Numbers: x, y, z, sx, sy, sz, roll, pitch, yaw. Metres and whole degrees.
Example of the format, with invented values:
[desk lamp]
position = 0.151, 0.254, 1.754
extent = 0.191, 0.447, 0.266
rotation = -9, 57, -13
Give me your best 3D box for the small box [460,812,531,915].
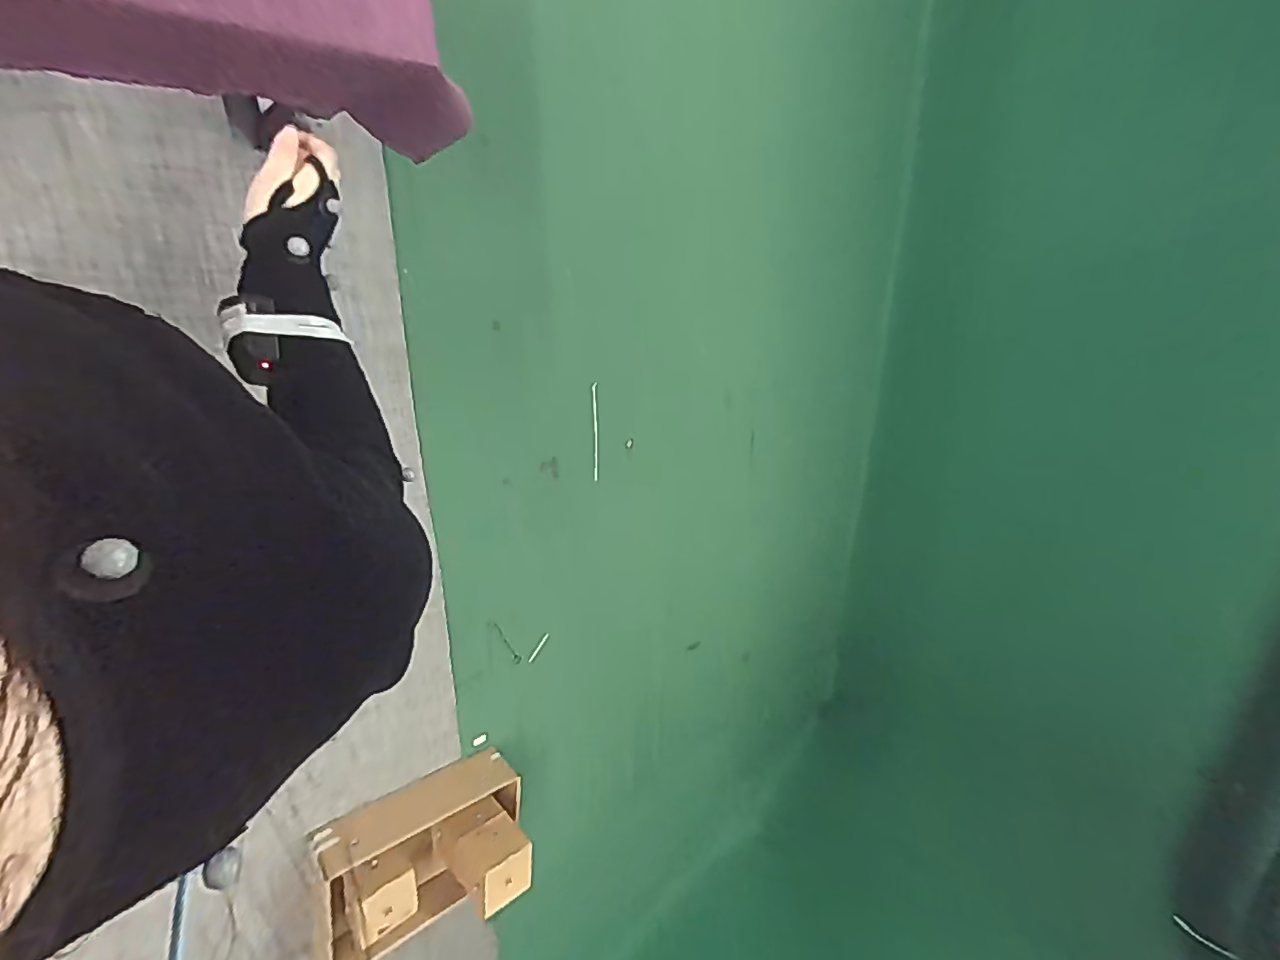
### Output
[small box]
position = -0.471, 1.235, 1.756
extent = 0.168, 0.176, 0.179
rotation = -8, 107, -44
